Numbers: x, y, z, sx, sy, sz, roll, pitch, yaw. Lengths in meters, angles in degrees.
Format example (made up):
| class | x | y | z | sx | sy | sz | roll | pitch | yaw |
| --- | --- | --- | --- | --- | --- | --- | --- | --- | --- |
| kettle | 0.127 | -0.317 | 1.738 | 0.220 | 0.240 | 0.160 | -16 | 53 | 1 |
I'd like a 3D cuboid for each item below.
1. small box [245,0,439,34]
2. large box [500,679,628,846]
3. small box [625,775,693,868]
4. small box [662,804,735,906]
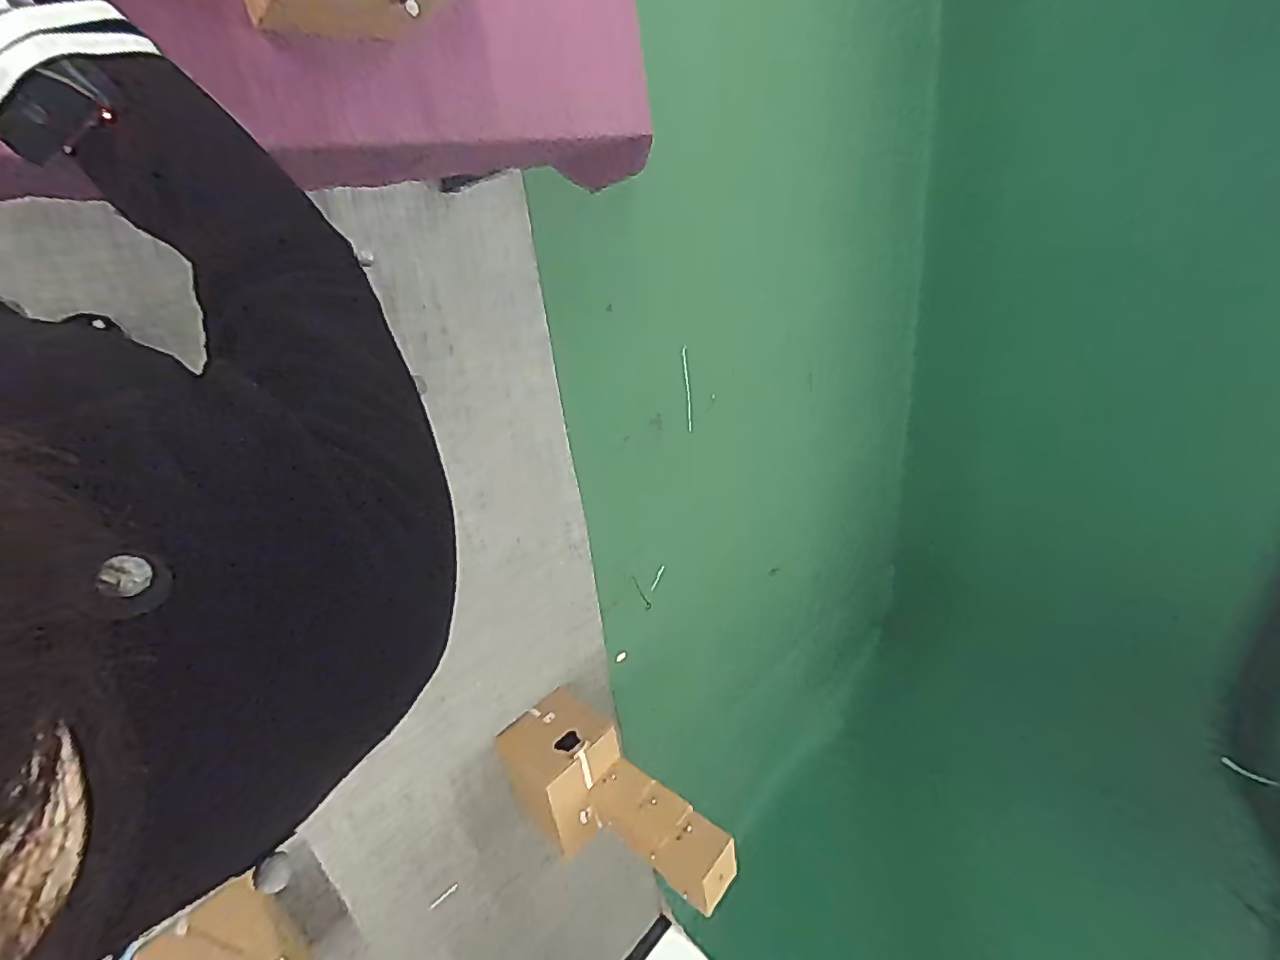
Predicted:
| class | x | y | z | sx | sy | sz | roll | pitch | yaw |
| --- | --- | --- | --- | --- | --- | --- | --- | --- | --- |
| small box | -0.319 | -0.591 | 0.554 | 0.179 | 0.176 | 0.168 | -30 | 121 | -36 |
| large box | -0.282 | 1.053 | 2.048 | 0.320 | 0.320 | 0.408 | -29 | 122 | -38 |
| small box | 0.071 | 1.157 | 1.847 | 0.168 | 0.176 | 0.179 | -31 | 122 | -40 |
| small box | 0.189 | 1.196 | 1.740 | 0.168 | 0.176 | 0.179 | -29 | 120 | -41 |
